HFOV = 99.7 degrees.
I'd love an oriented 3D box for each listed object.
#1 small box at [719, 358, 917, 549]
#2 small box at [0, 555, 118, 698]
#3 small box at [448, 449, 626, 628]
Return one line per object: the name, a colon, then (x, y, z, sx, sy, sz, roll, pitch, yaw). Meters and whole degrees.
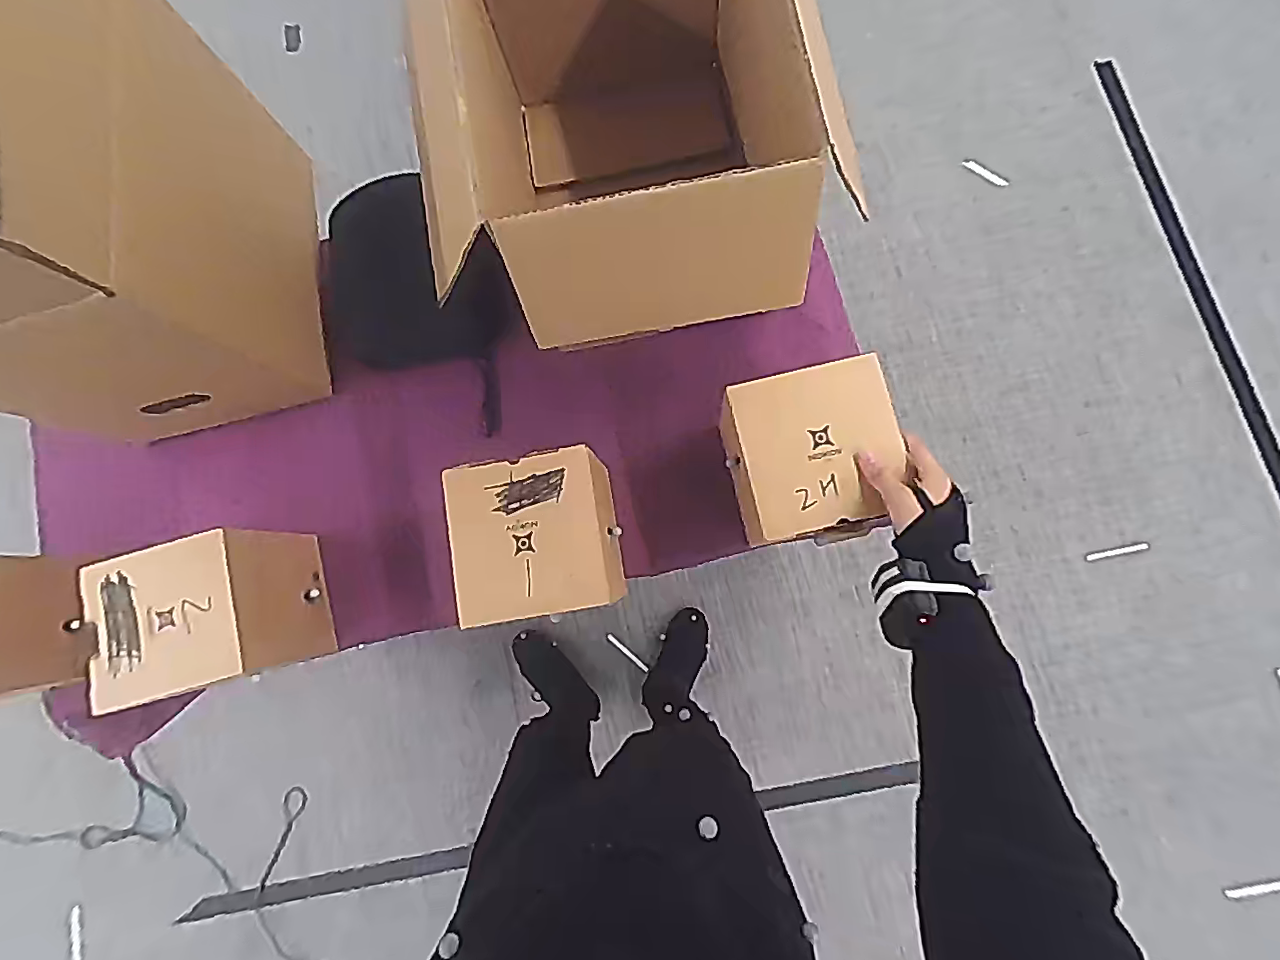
small box: (0.194, -0.020, 0.649, 0.168, 0.176, 0.179, -13, 81, 4)
small box: (-0.841, 0.197, 0.698, 0.179, 0.176, 0.168, -14, 81, 1)
small box: (-0.115, 0.074, 0.660, 0.168, 0.176, 0.179, -10, 81, 4)
